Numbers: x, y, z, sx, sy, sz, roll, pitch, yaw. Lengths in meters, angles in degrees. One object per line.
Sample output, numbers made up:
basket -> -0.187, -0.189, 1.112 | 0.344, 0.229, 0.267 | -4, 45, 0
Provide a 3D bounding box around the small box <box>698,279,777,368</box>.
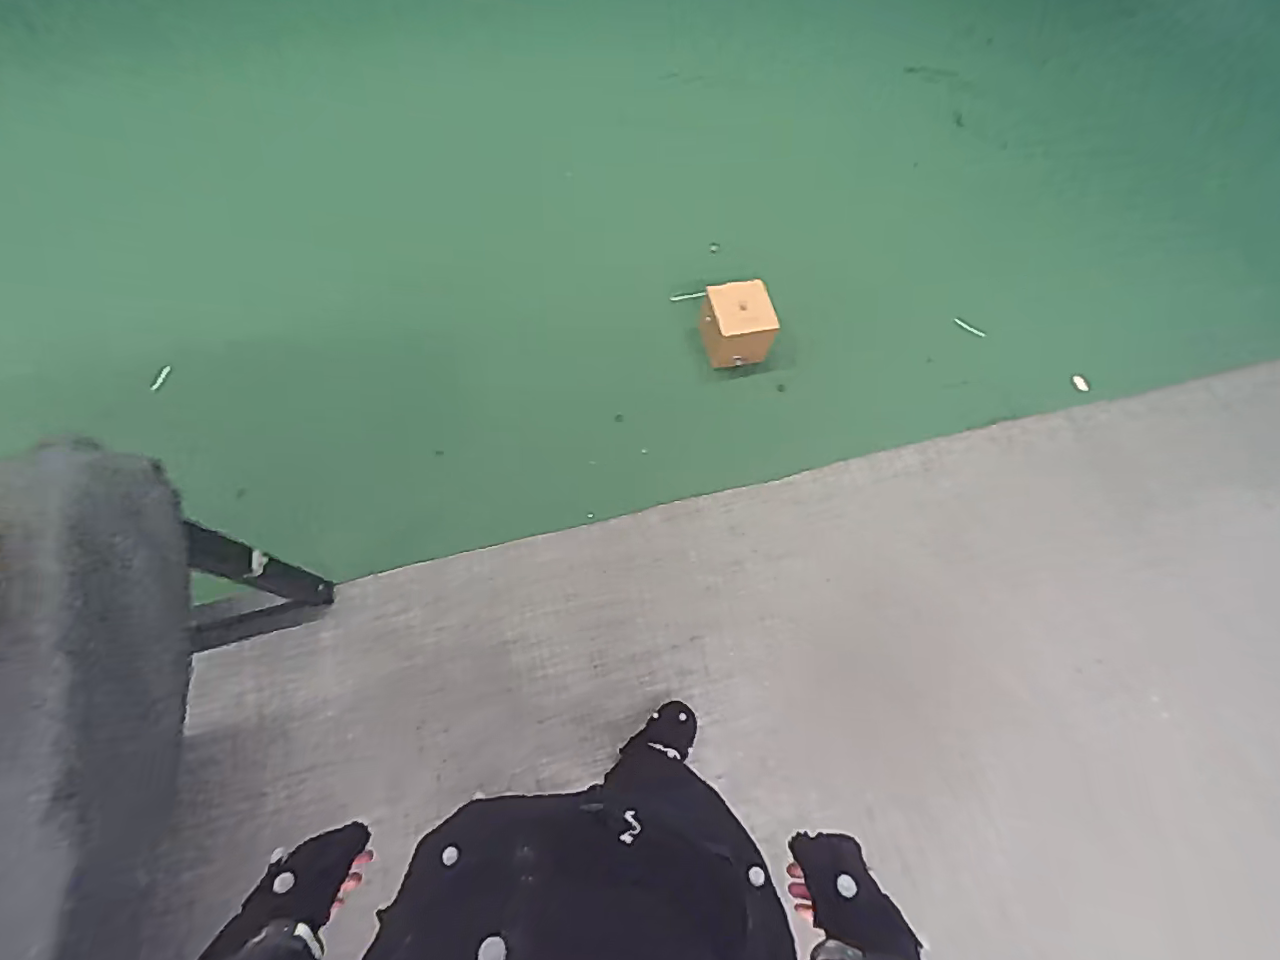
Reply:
small box -> 0.279, -0.459, 1.597 | 0.168, 0.176, 0.179 | -11, 71, -8
